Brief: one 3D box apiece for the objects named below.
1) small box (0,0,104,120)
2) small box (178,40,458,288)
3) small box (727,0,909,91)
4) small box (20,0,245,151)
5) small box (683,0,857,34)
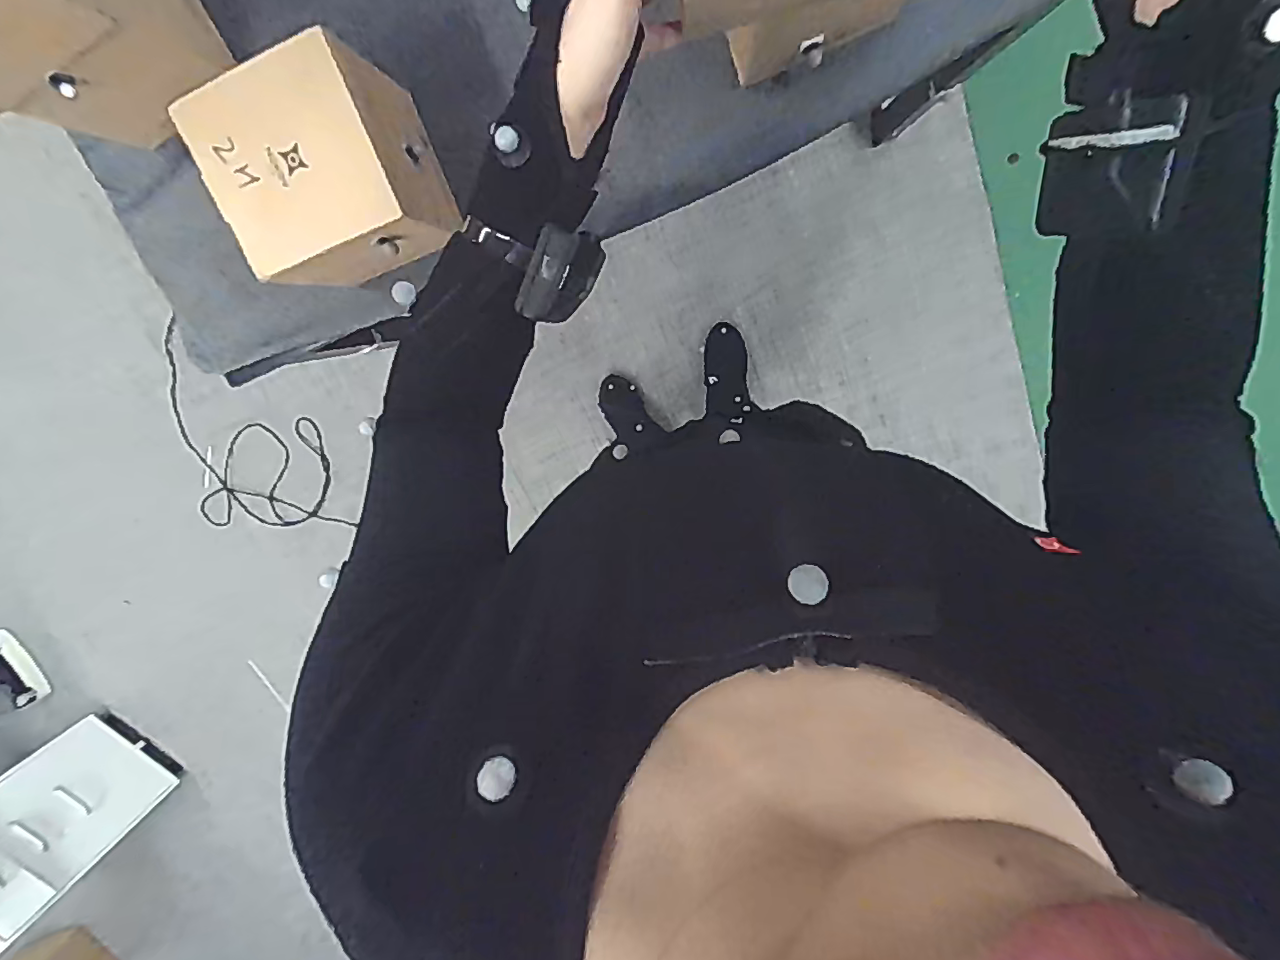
[{"bbox_3d":[-0.584,-0.420,0.413,0.179,0.176,0.168,-23,106,13],"label":"small box"},{"bbox_3d":[-0.324,-0.321,0.592,0.179,0.176,0.168,-18,105,11],"label":"small box"},{"bbox_3d":[0.153,-0.504,0.486,0.168,0.176,0.179,-19,105,12],"label":"small box"},{"bbox_3d":[-0.578,-0.487,0.564,0.168,0.176,0.179,-24,105,12],"label":"small box"},{"bbox_3d":[0.098,-0.347,0.253,0.179,0.176,0.168,-7,117,10],"label":"small box"}]
